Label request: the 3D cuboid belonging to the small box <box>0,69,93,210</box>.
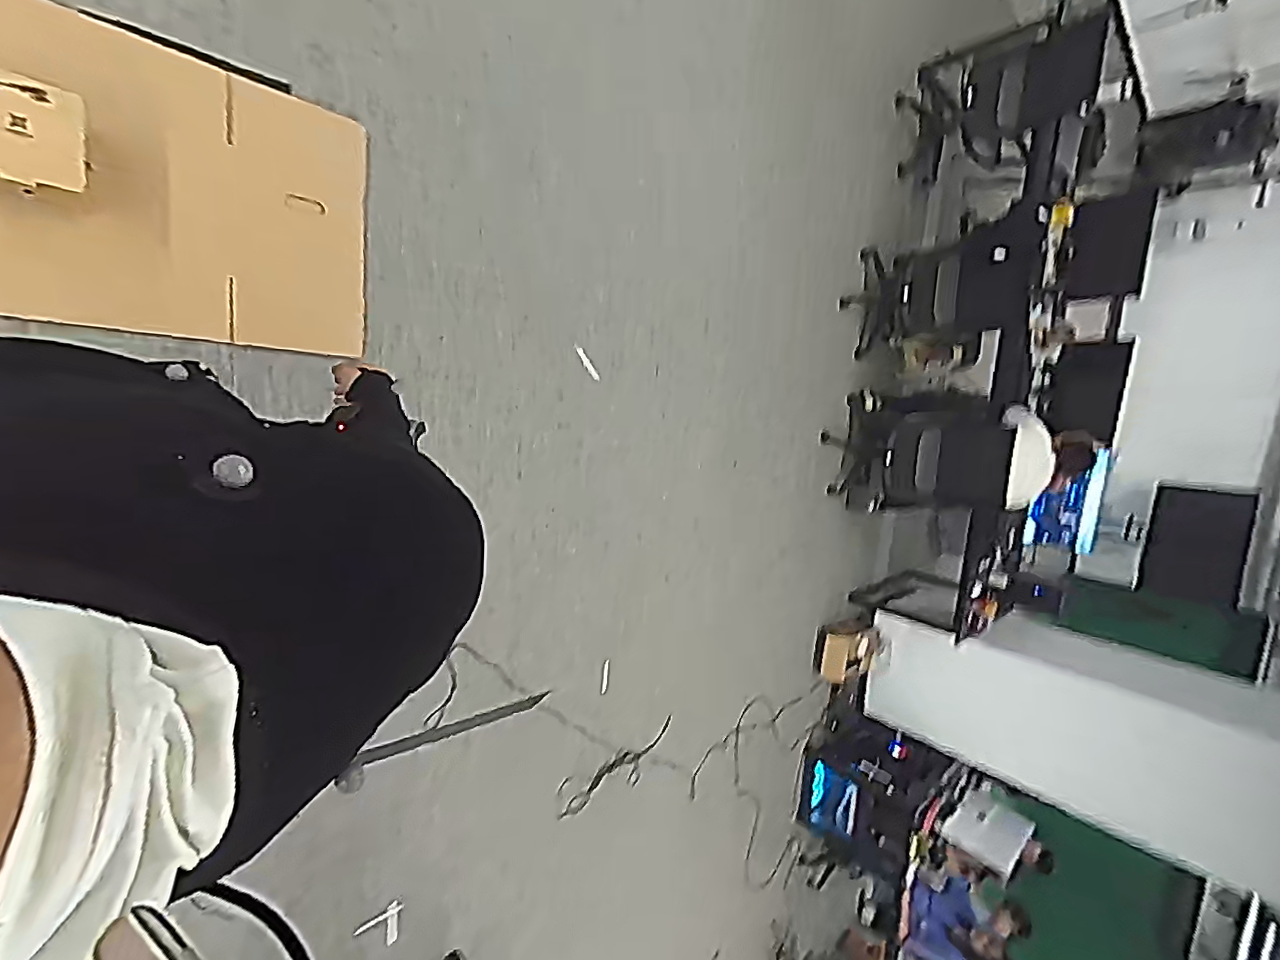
[{"bbox_3d":[-1.124,-0.619,0.989,0.168,0.176,0.179,1,99,-43],"label":"small box"}]
